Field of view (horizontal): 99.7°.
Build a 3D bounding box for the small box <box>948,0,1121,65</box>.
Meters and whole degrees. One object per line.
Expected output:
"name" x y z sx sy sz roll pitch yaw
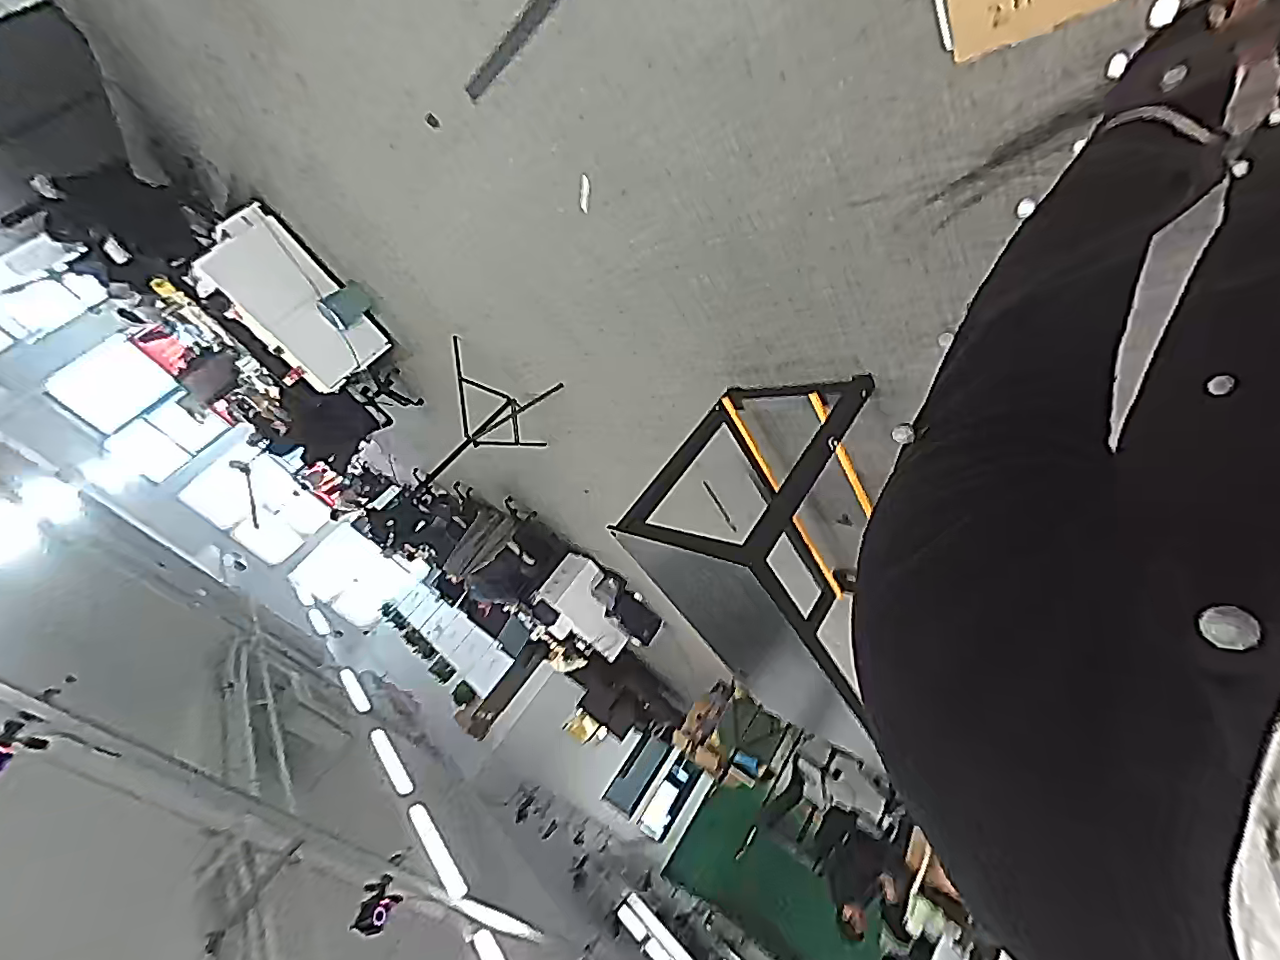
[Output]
"small box" 0.475 -0.645 0.631 0.168 0.176 0.179 13 146 48
